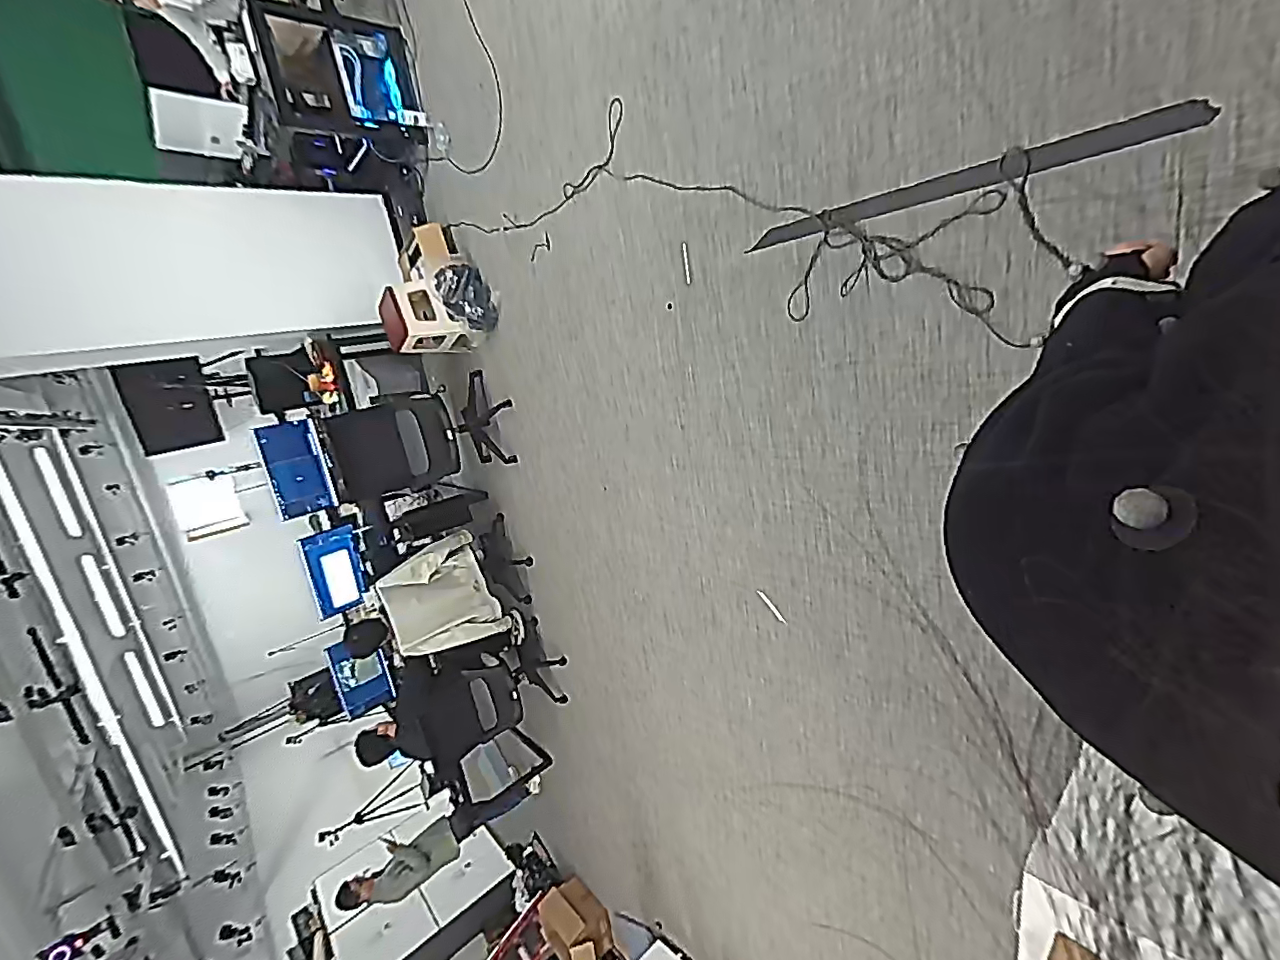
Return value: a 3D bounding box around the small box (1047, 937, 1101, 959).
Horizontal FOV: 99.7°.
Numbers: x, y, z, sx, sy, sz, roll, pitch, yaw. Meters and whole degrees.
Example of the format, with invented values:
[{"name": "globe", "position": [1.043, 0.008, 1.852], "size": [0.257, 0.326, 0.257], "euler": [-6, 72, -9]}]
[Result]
[{"name": "small box", "position": [0.749, 0.917, 0.880], "size": [0.168, 0.176, 0.179], "euler": [11, 114, 48]}]
